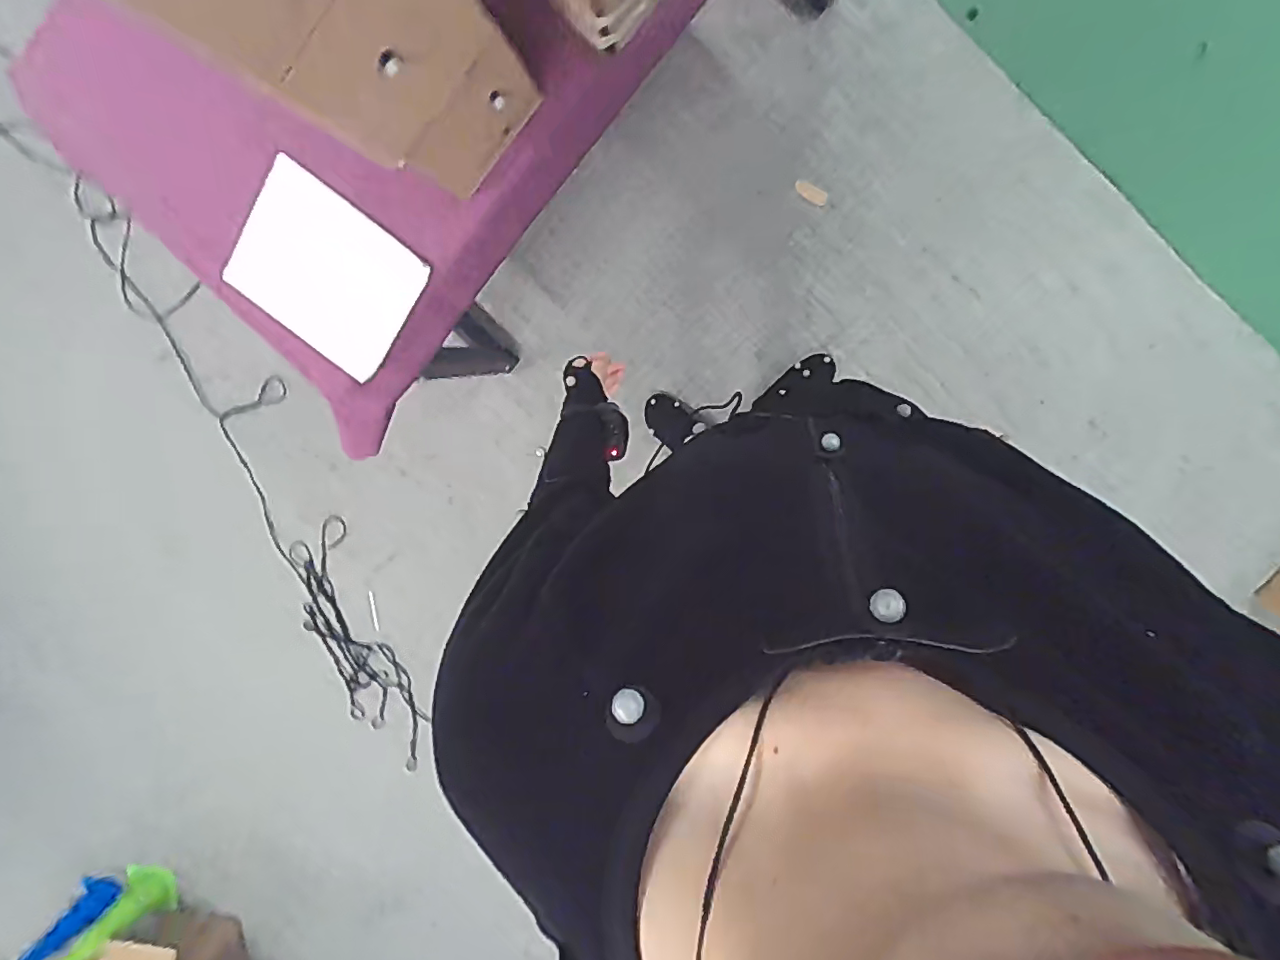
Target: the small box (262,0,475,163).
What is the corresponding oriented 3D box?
[{"bbox_3d":[-0.273,-0.430,0.477,0.168,0.176,0.179,45,105,-2],"label":"small box"}]
